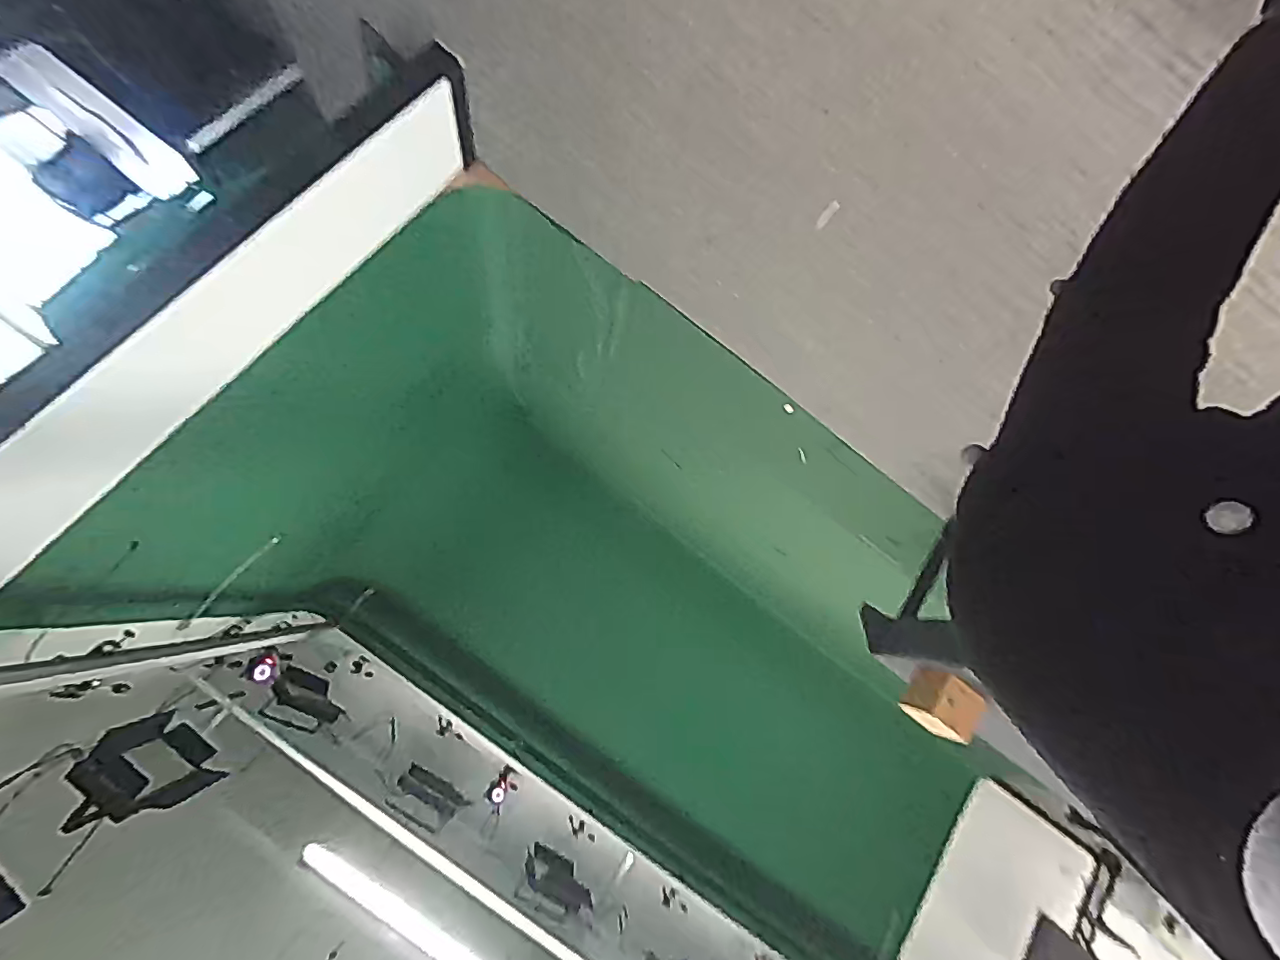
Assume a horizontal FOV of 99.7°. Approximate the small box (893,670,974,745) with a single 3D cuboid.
[{"bbox_3d":[1.054,0.803,1.930,0.168,0.176,0.179,40,164,-3],"label":"small box"}]
